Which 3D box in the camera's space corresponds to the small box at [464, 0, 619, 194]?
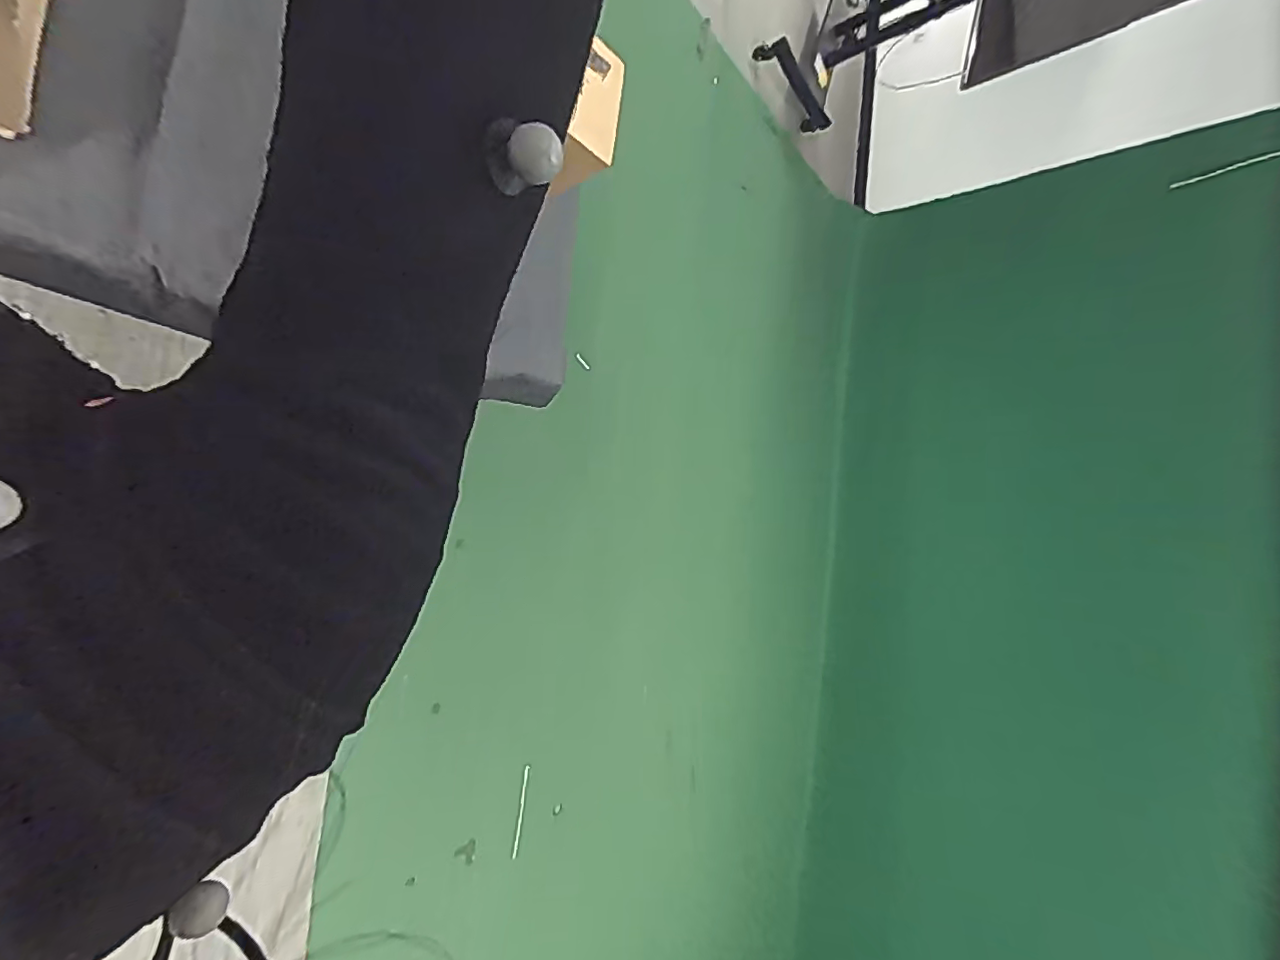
[{"bbox_3d":[-0.157,-0.595,0.853,0.168,0.176,0.179,12,84,-48],"label":"small box"}]
